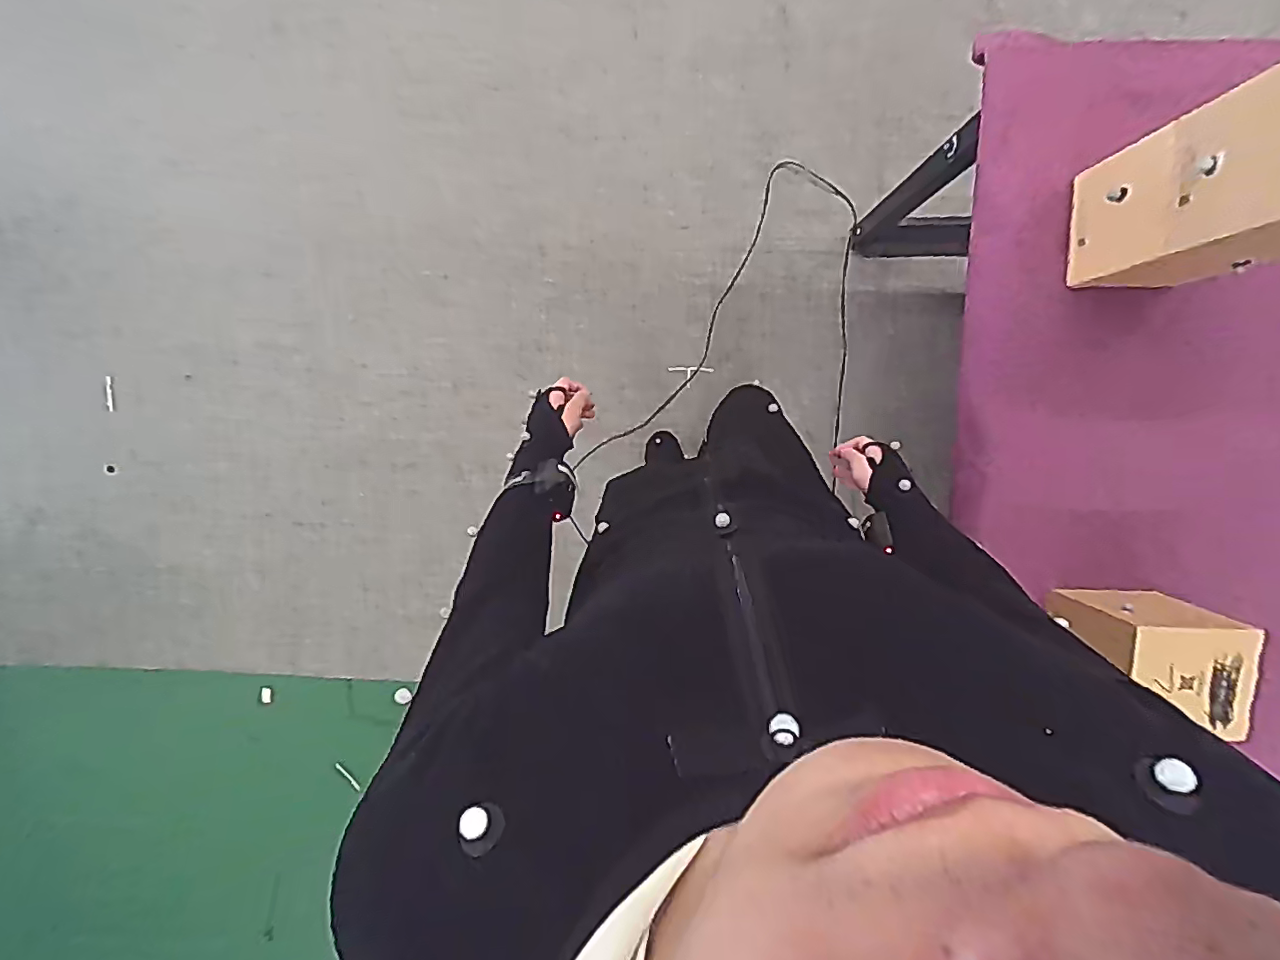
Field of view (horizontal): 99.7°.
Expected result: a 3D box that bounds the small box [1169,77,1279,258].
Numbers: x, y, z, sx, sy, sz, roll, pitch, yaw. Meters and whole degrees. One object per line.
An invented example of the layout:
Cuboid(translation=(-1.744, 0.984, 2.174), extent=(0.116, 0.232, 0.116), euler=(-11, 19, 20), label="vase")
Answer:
Cuboid(translation=(0.753, -0.352, 0.591), extent=(0.179, 0.176, 0.168), euler=(0, 96, 2), label="small box")

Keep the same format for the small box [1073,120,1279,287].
Cuboid(translation=(0.754, -0.372, 0.754), extent=(0.179, 0.176, 0.168), euler=(-1, 97, 1), label="small box")
